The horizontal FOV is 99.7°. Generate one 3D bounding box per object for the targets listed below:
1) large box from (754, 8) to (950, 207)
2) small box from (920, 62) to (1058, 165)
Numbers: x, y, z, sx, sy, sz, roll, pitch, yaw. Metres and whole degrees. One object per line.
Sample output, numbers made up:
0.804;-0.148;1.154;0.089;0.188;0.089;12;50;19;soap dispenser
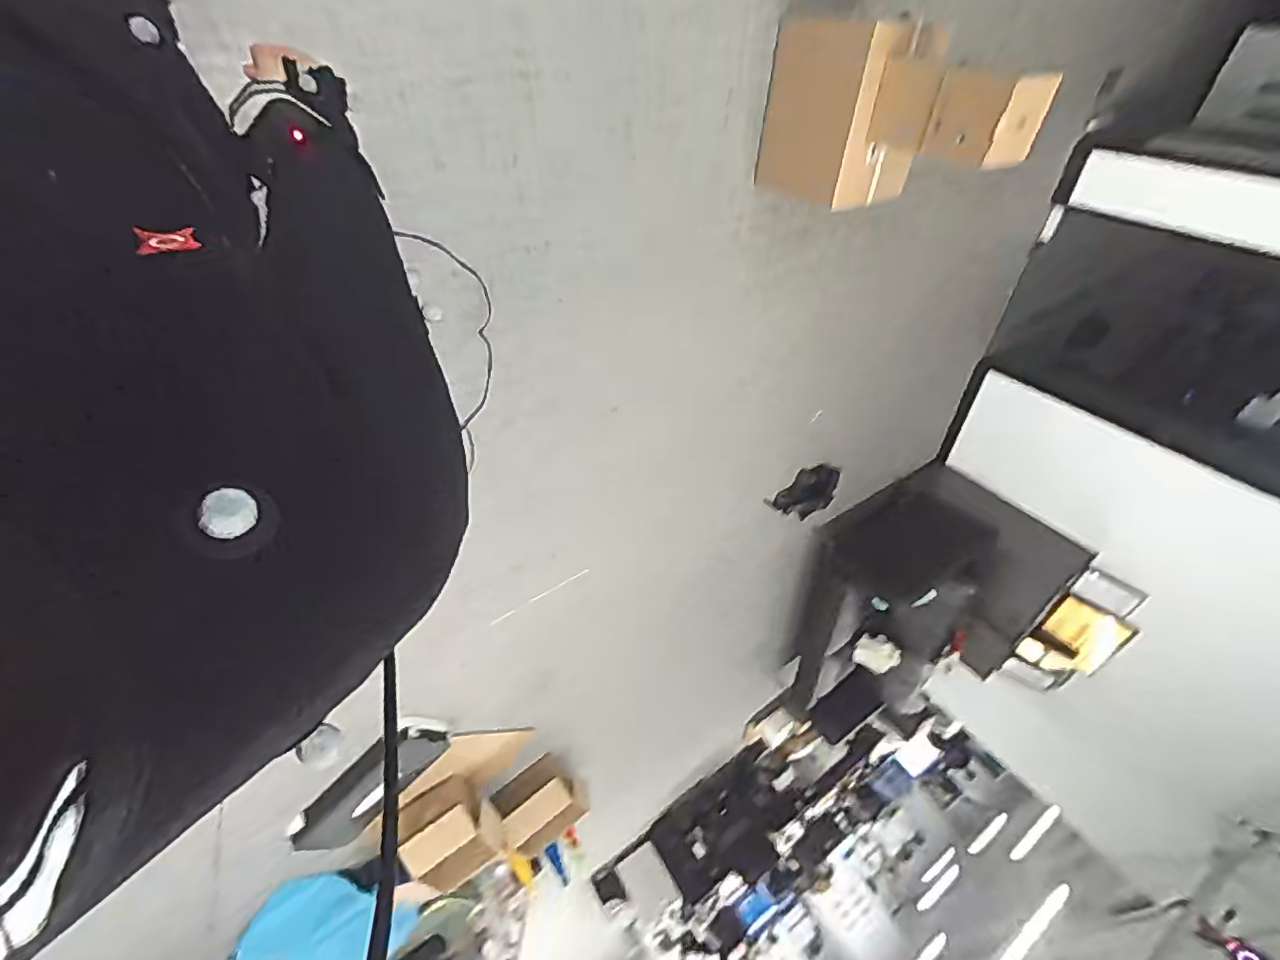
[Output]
0.558;-1.035;1.499;0.320;0.320;0.408;-22;139;-25;large box
0.775;-0.829;1.219;0.179;0.176;0.168;-24;140;-26;small box
